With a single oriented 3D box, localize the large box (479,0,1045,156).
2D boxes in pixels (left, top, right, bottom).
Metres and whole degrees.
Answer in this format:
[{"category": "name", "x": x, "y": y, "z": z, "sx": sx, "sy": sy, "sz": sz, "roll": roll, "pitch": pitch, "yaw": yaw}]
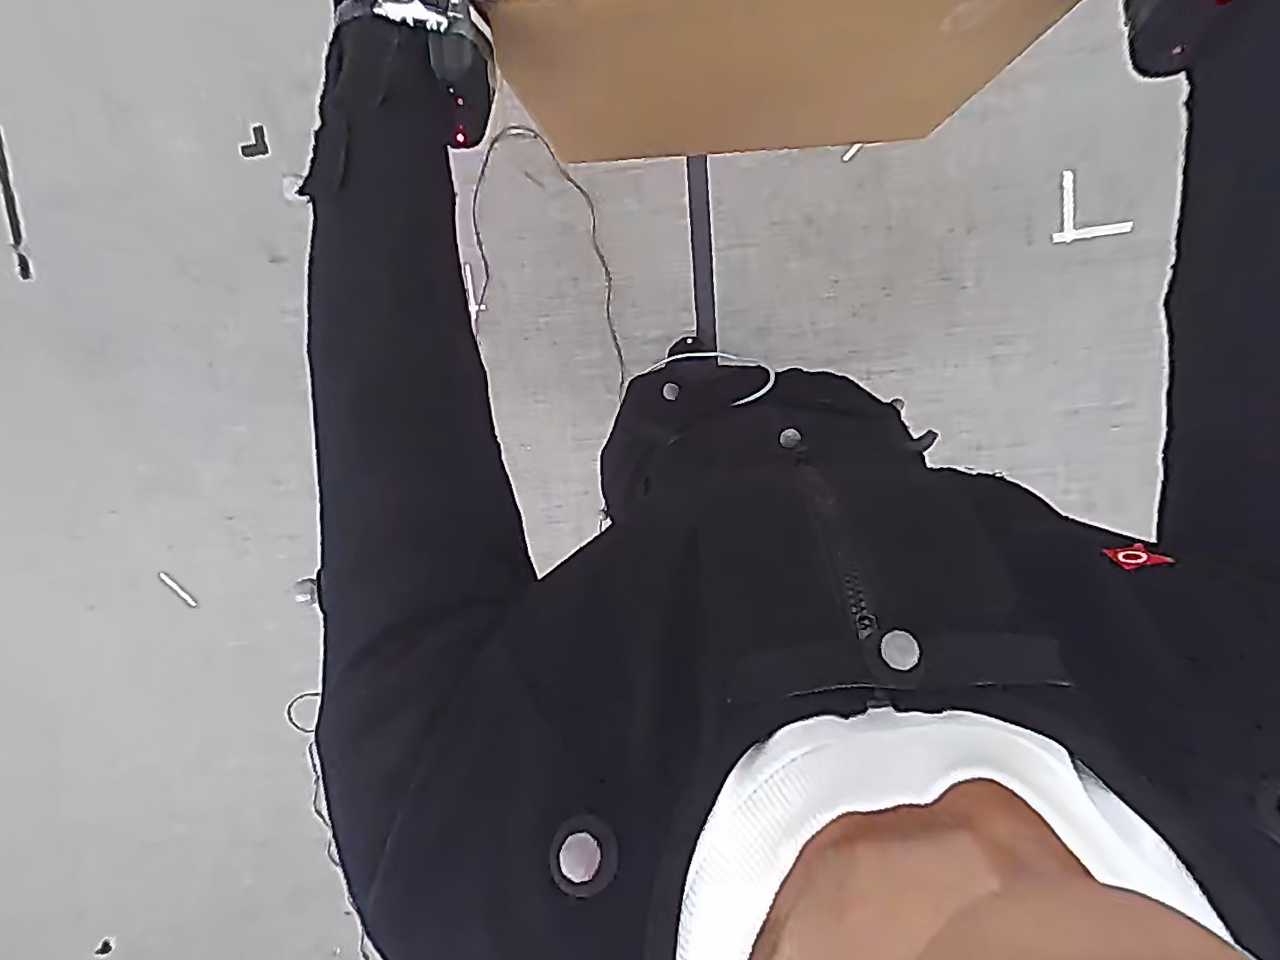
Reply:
[{"category": "large box", "x": 0.089, "y": -0.491, "z": 0.427, "sx": 0.408, "sy": 0.320, "sz": 0.320, "roll": -2, "pitch": 104, "yaw": 4}]
